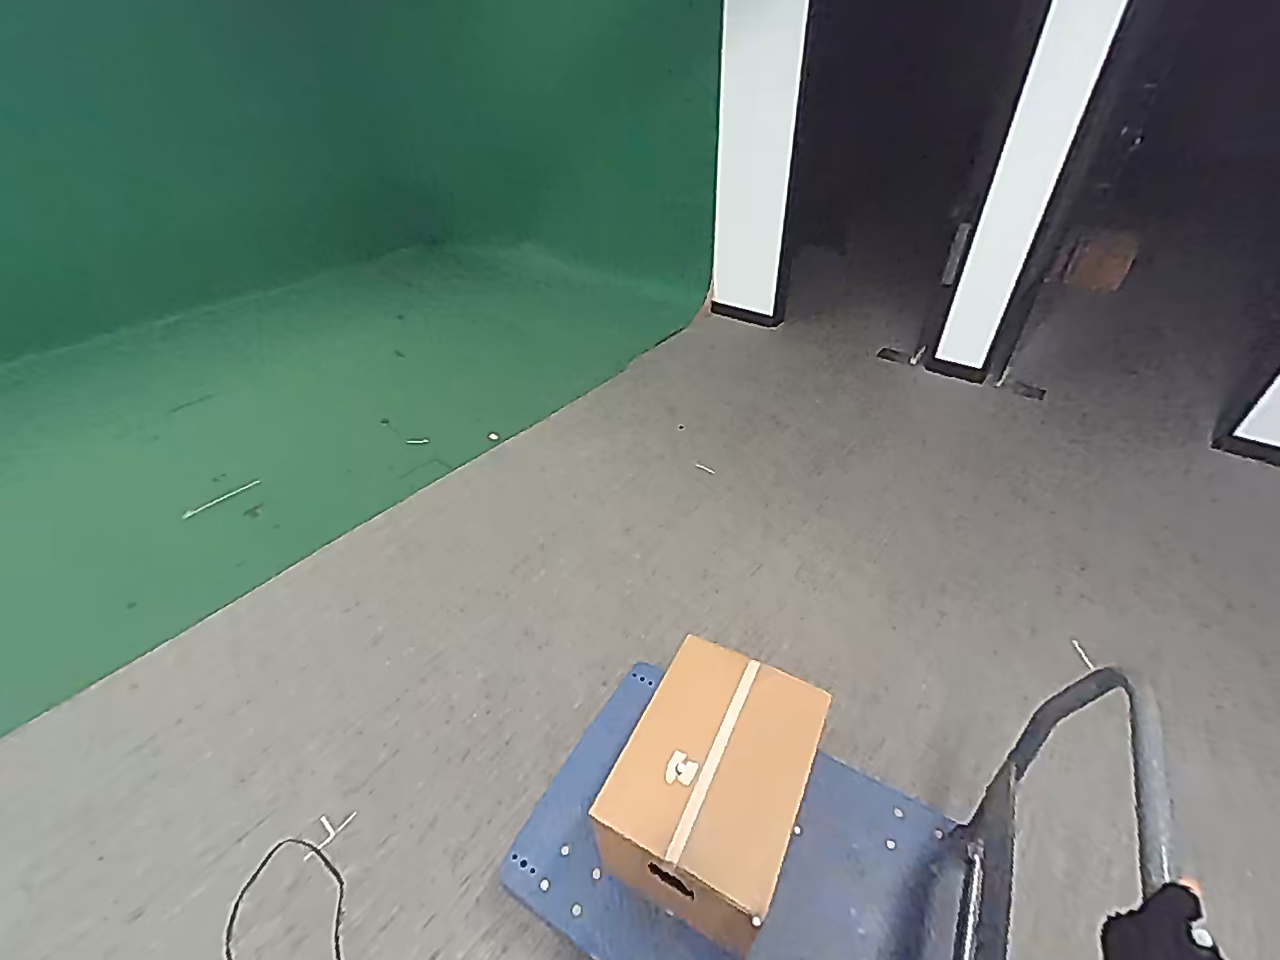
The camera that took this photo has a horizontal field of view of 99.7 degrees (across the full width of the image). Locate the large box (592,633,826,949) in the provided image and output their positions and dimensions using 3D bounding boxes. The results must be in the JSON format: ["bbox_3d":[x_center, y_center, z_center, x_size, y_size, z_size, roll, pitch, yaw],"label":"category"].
[{"bbox_3d":[0.148,0.601,1.087,0.320,0.320,0.408,18,45,24],"label":"large box"}]
